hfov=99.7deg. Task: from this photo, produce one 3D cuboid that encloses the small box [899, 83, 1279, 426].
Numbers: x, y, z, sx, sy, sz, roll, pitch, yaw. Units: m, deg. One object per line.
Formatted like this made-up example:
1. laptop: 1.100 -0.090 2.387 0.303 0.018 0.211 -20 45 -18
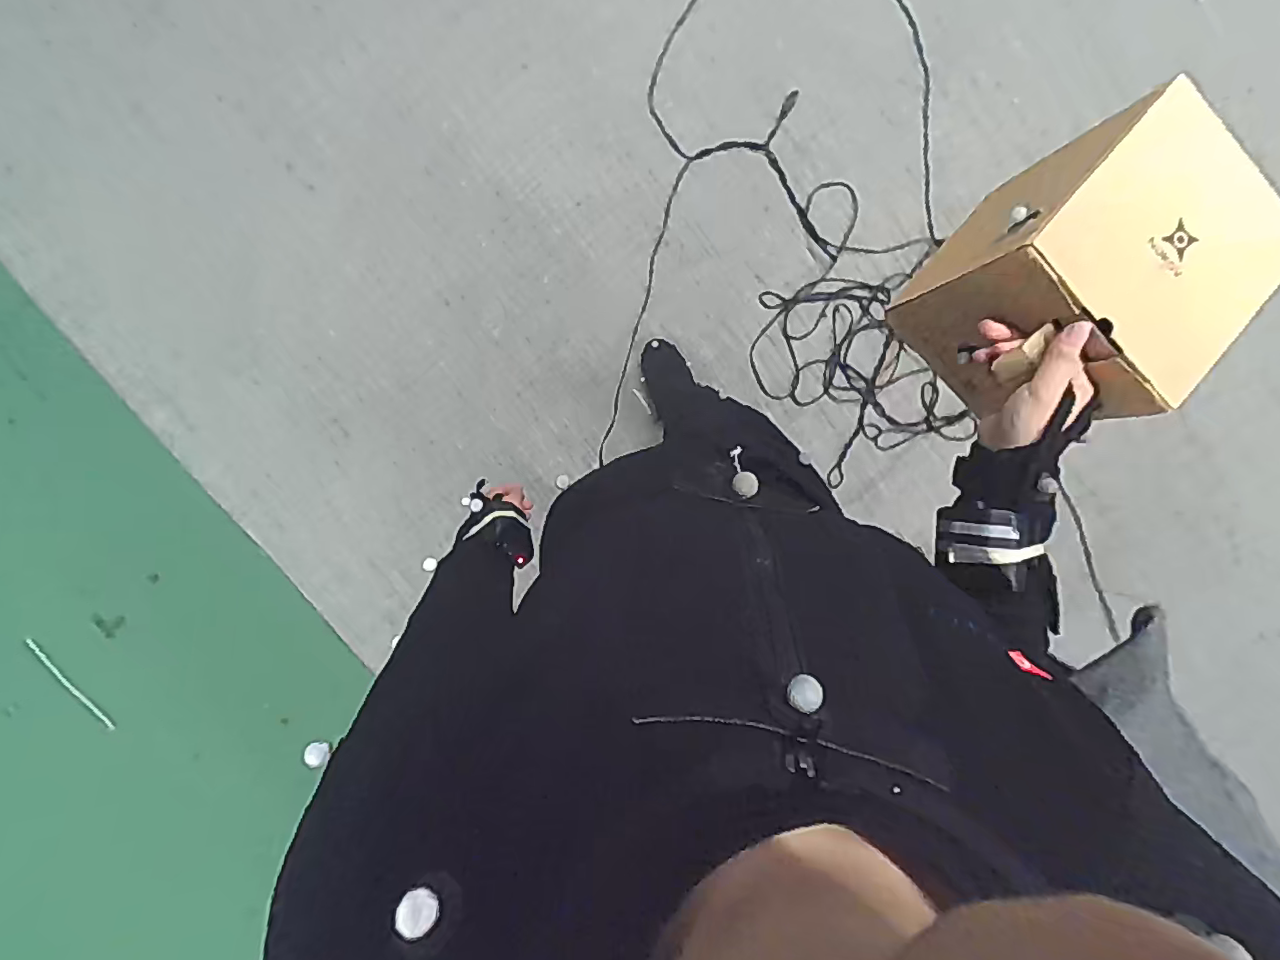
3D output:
1. small box: 0.366 -0.164 0.458 0.168 0.176 0.179 43 86 -8
